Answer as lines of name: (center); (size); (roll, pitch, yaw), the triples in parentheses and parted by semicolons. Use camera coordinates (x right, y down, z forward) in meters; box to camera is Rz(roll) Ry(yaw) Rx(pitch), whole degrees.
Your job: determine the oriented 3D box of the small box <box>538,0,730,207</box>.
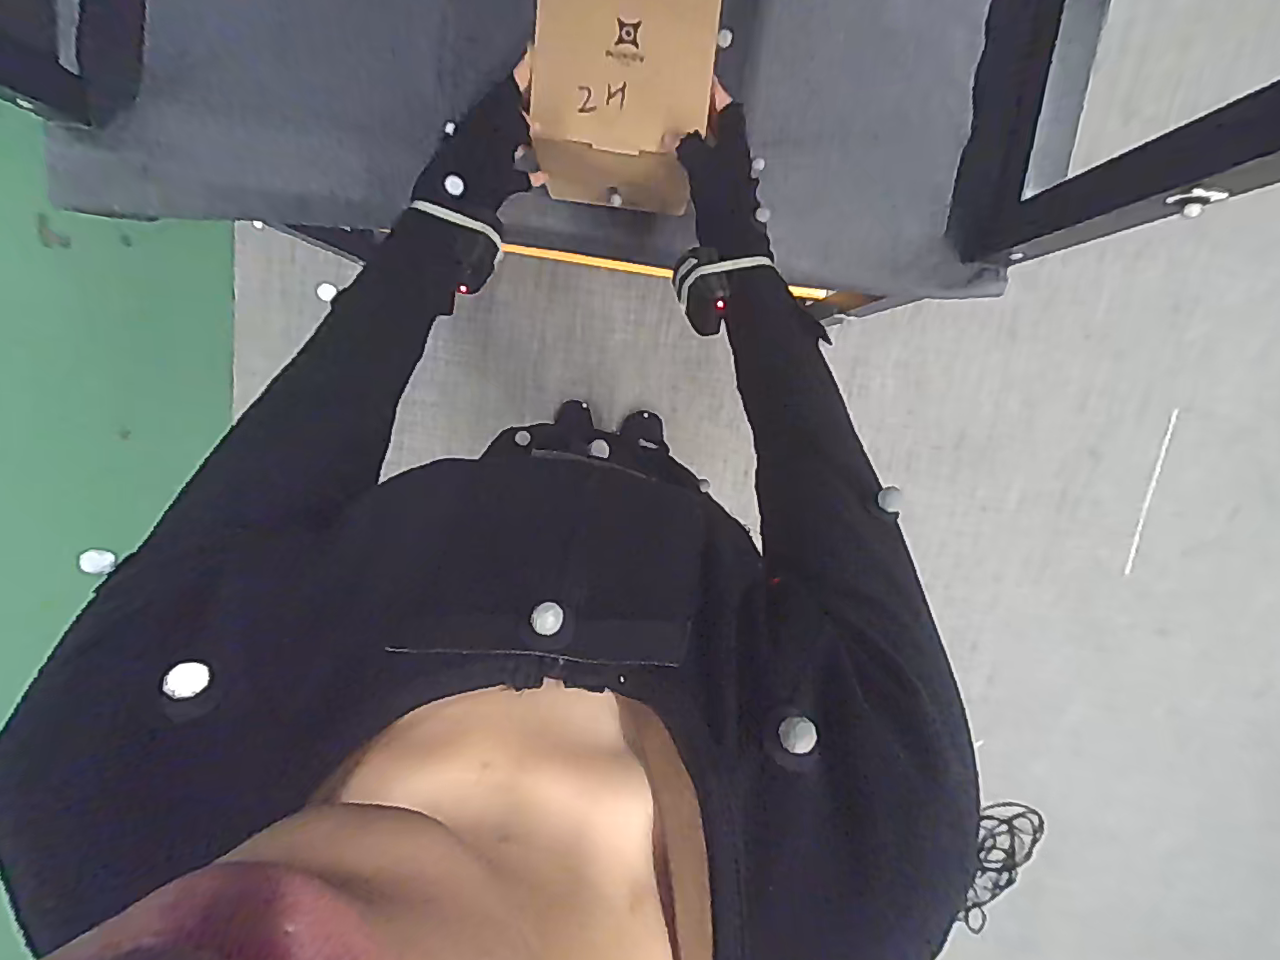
small box: (-0.008, -0.417, 0.571); (0.168, 0.176, 0.179); (6, 100, -3)
